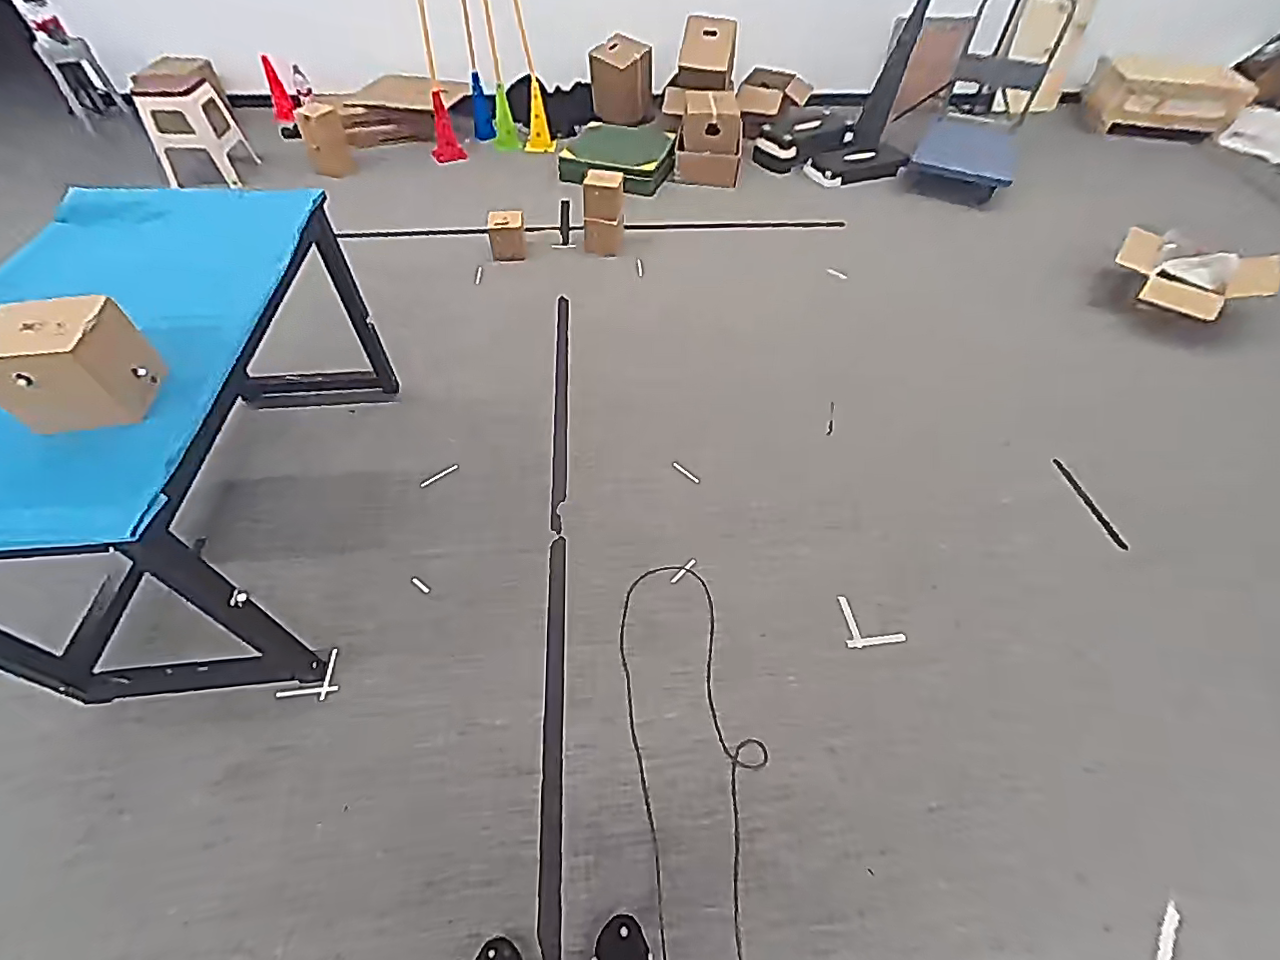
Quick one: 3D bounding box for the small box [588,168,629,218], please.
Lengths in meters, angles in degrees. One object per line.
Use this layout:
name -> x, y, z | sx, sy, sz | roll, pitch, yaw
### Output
small box -> -0.154, -1.431, 2.700 | 0.179, 0.176, 0.168 | 9, 52, 4

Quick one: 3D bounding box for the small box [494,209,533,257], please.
small box -> -0.642, -1.254, 2.753 | 0.168, 0.176, 0.179 | -4, 51, -5

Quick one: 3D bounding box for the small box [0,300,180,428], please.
small box -> -1.012, -0.208, 0.989 | 0.179, 0.176, 0.168 | -4, 52, -7

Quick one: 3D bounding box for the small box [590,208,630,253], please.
small box -> -0.154, -1.307, 2.812 | 0.179, 0.176, 0.168 | 11, 51, 5
